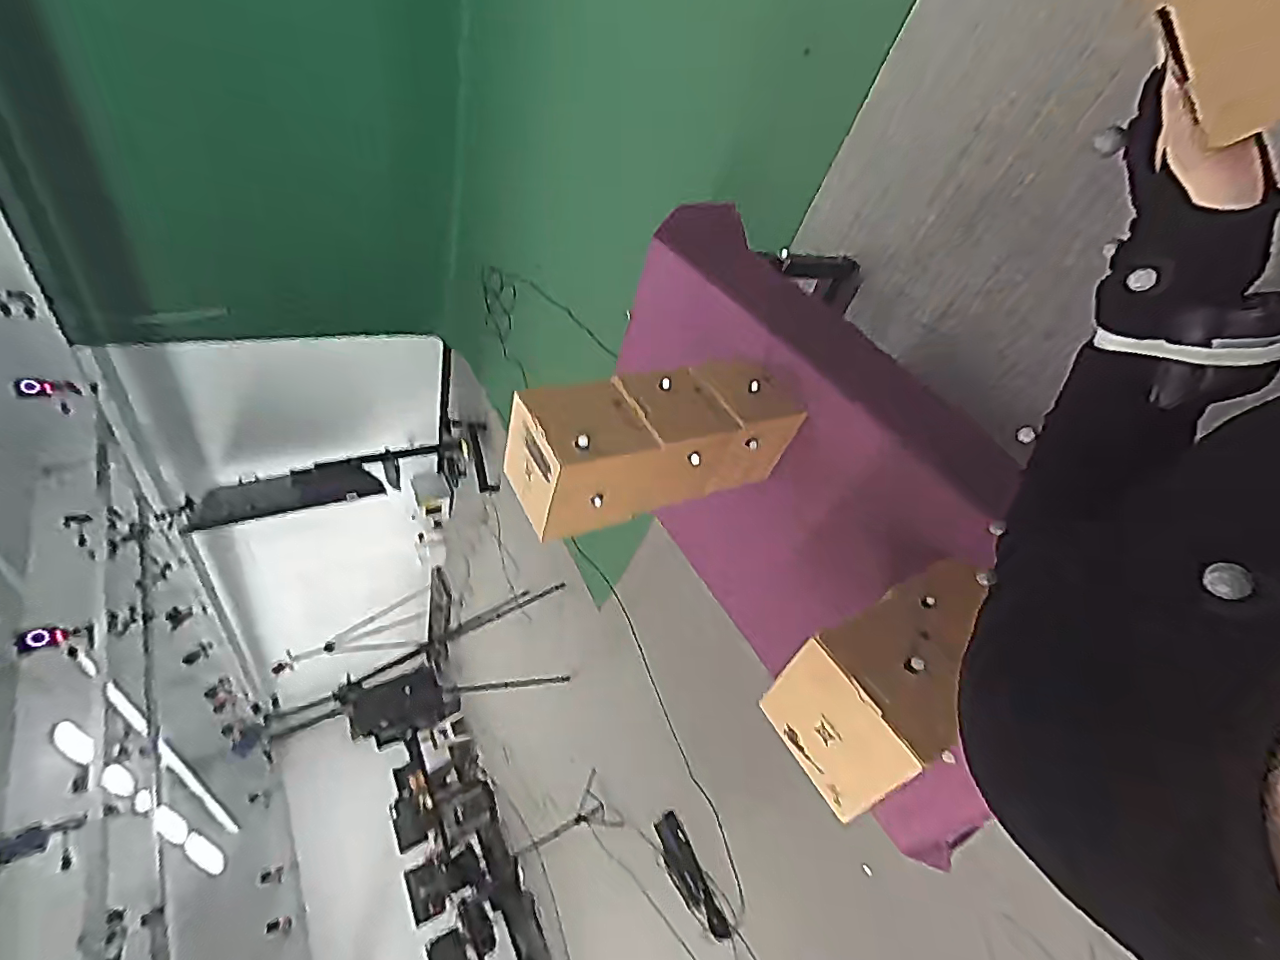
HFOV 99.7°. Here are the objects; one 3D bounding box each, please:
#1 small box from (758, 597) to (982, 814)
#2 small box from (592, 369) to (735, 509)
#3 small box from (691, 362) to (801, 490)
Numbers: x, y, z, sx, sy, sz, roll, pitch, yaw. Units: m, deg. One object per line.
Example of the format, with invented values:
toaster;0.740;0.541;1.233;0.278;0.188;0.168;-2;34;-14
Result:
small box;0.290;0.276;0.686;0.168;0.176;0.179;54;140;35
small box;0.042;-0.078;0.951;0.168;0.176;0.179;57;143;30
small box;0.178;-0.110;1.036;0.168;0.176;0.179;56;142;31
